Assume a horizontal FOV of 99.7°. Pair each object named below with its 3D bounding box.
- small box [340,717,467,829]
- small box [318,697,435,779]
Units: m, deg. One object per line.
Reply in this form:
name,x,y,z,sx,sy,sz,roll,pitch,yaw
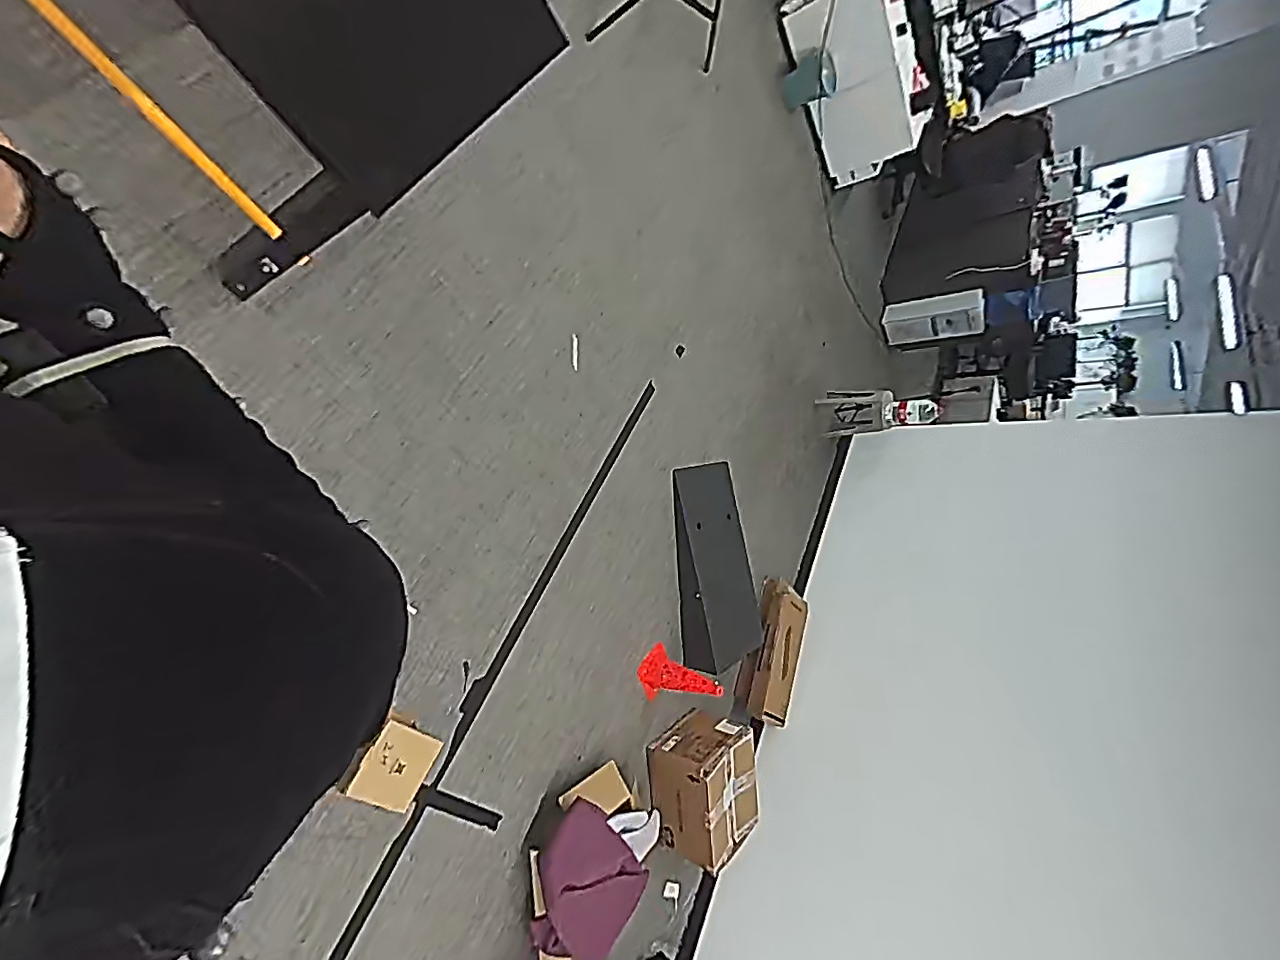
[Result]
small box,-0.555,0.684,1.273,0.179,0.176,0.168,51,54,-38
small box,-0.675,0.679,1.387,0.179,0.176,0.168,49,55,-38
